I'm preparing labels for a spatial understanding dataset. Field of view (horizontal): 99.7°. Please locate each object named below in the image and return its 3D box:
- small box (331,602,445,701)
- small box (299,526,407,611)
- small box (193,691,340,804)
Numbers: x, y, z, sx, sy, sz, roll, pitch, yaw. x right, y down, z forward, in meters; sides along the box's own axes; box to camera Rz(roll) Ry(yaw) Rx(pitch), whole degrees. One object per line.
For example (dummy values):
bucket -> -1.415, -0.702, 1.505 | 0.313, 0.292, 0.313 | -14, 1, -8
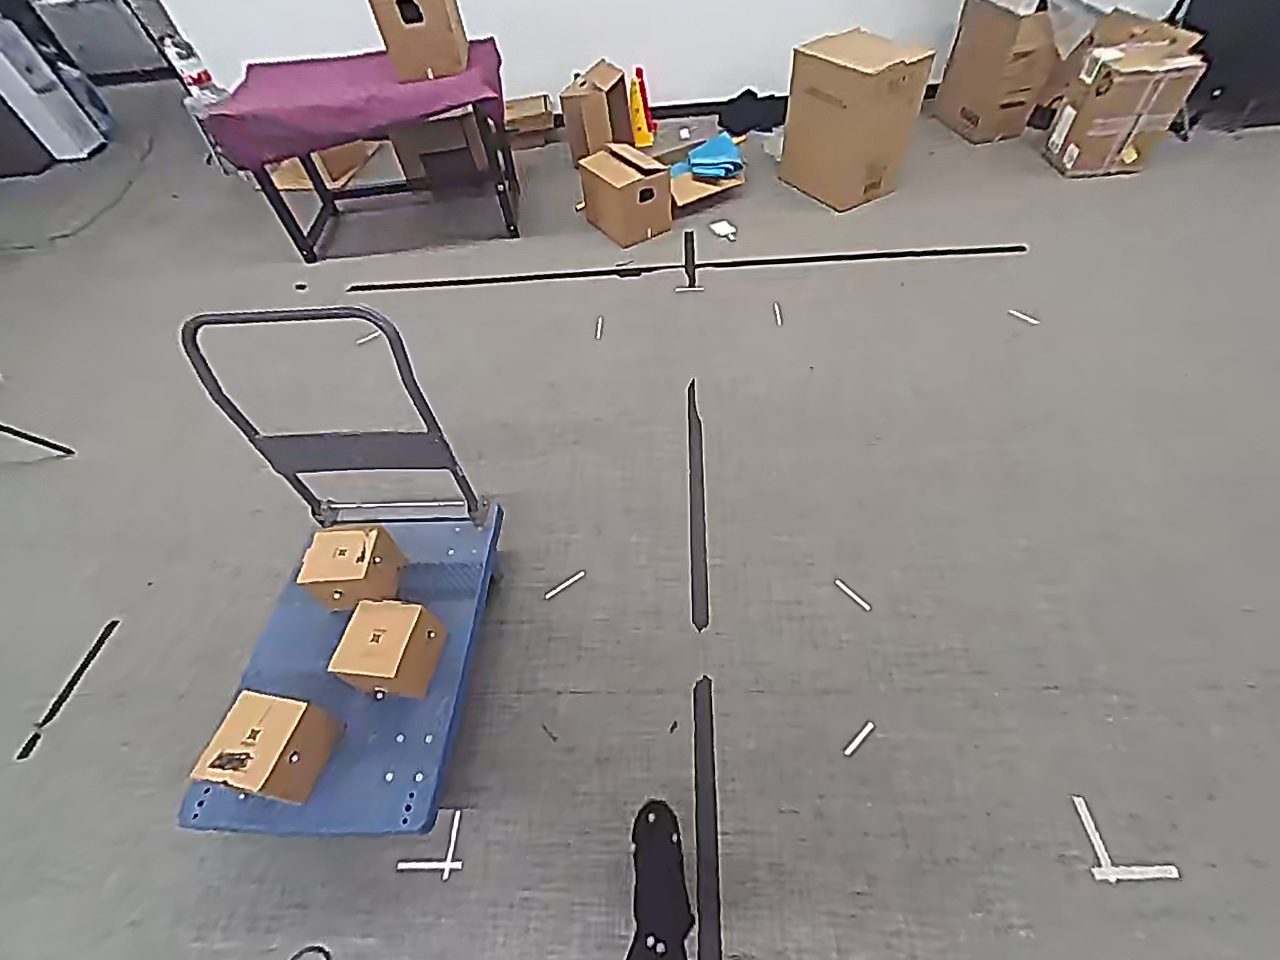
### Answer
small box -> -0.597, 0.417, 1.312 | 0.168, 0.176, 0.179 | 2, 53, 9
small box -> -0.766, 0.244, 1.463 | 0.179, 0.176, 0.168 | -5, 52, 3
small box -> -0.803, 0.593, 1.189 | 0.168, 0.176, 0.179 | 7, 51, 10
